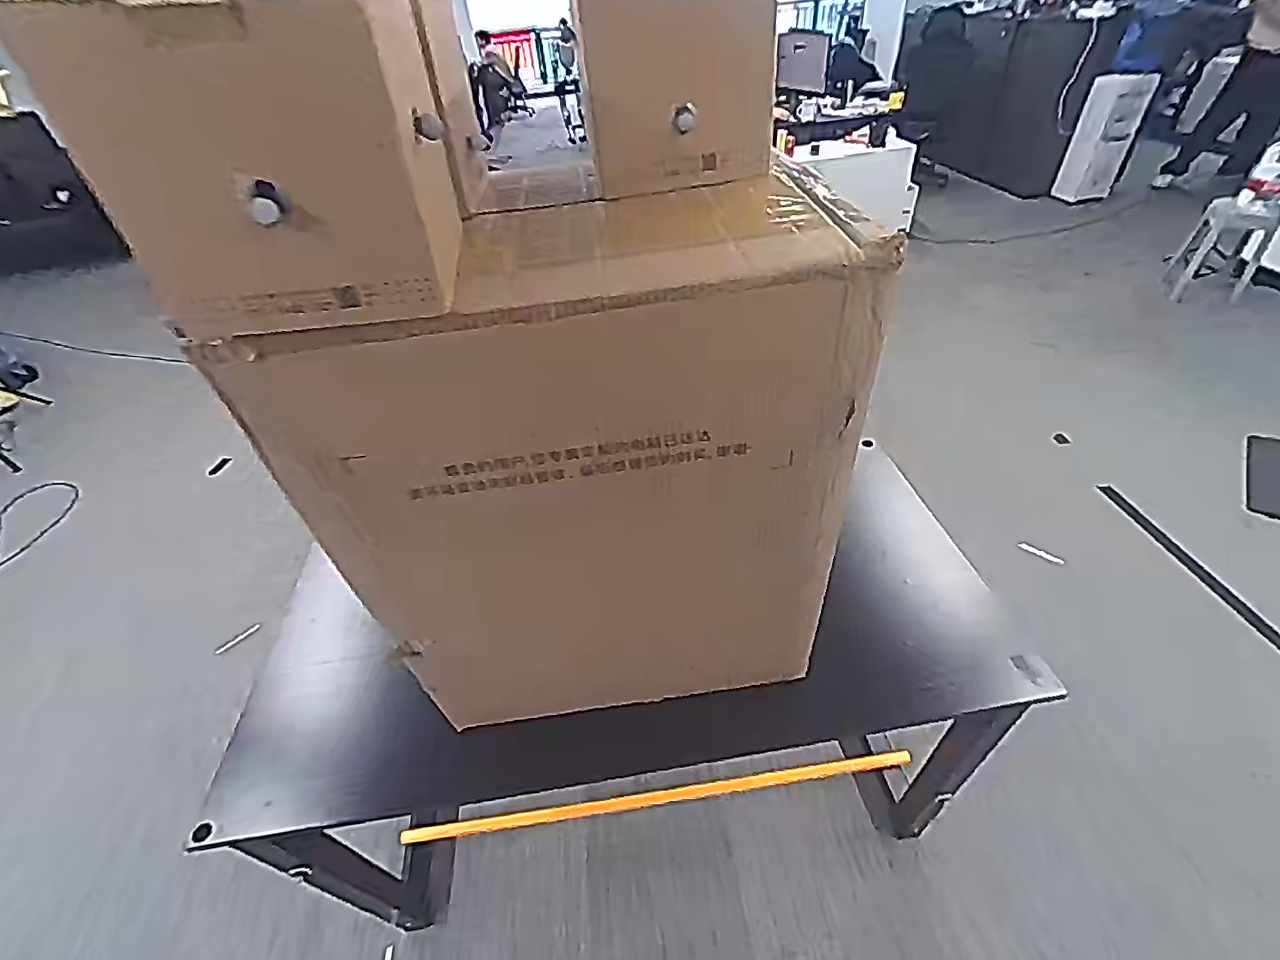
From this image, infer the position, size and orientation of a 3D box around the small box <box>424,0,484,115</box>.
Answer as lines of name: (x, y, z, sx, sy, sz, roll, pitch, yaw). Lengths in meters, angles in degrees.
small box: (-0.240, -0.392, 0.434, 0.179, 0.176, 0.168, -6, 41, -3)

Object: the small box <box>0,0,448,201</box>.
small box: (-0.206, -0.258, 0.282, 0.168, 0.176, 0.179, -9, 45, -8)
